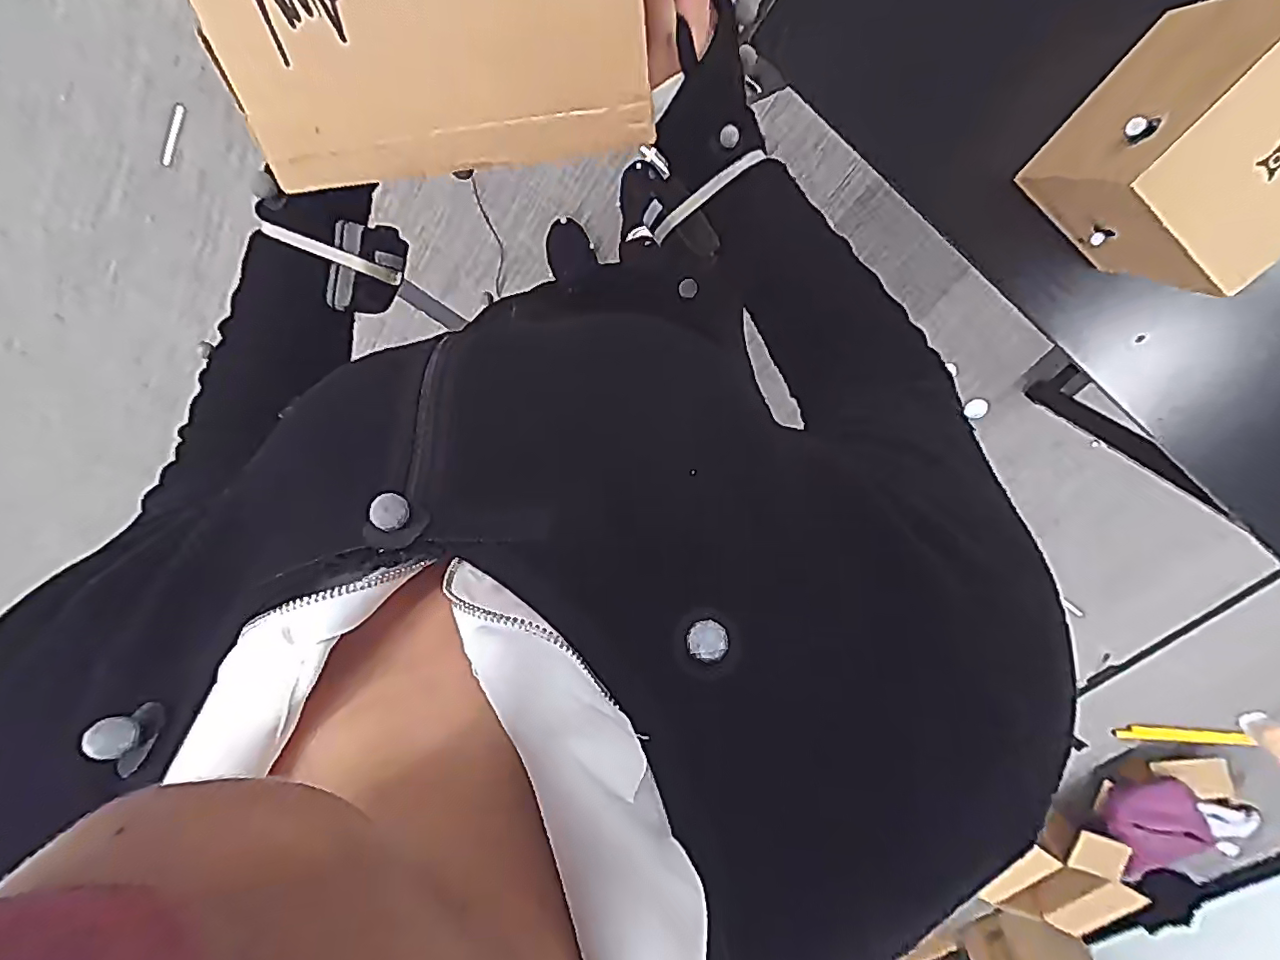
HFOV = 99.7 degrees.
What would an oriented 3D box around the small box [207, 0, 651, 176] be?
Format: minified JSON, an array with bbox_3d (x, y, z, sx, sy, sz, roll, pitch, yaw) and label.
[{"bbox_3d":[-0.090,-0.264,0.256,0.179,0.176,0.168,-6,135,2],"label":"small box"}]

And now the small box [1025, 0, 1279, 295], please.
[{"bbox_3d":[0.522,-0.314,0.521,0.168,0.176,0.179,31,115,-17],"label":"small box"}]
